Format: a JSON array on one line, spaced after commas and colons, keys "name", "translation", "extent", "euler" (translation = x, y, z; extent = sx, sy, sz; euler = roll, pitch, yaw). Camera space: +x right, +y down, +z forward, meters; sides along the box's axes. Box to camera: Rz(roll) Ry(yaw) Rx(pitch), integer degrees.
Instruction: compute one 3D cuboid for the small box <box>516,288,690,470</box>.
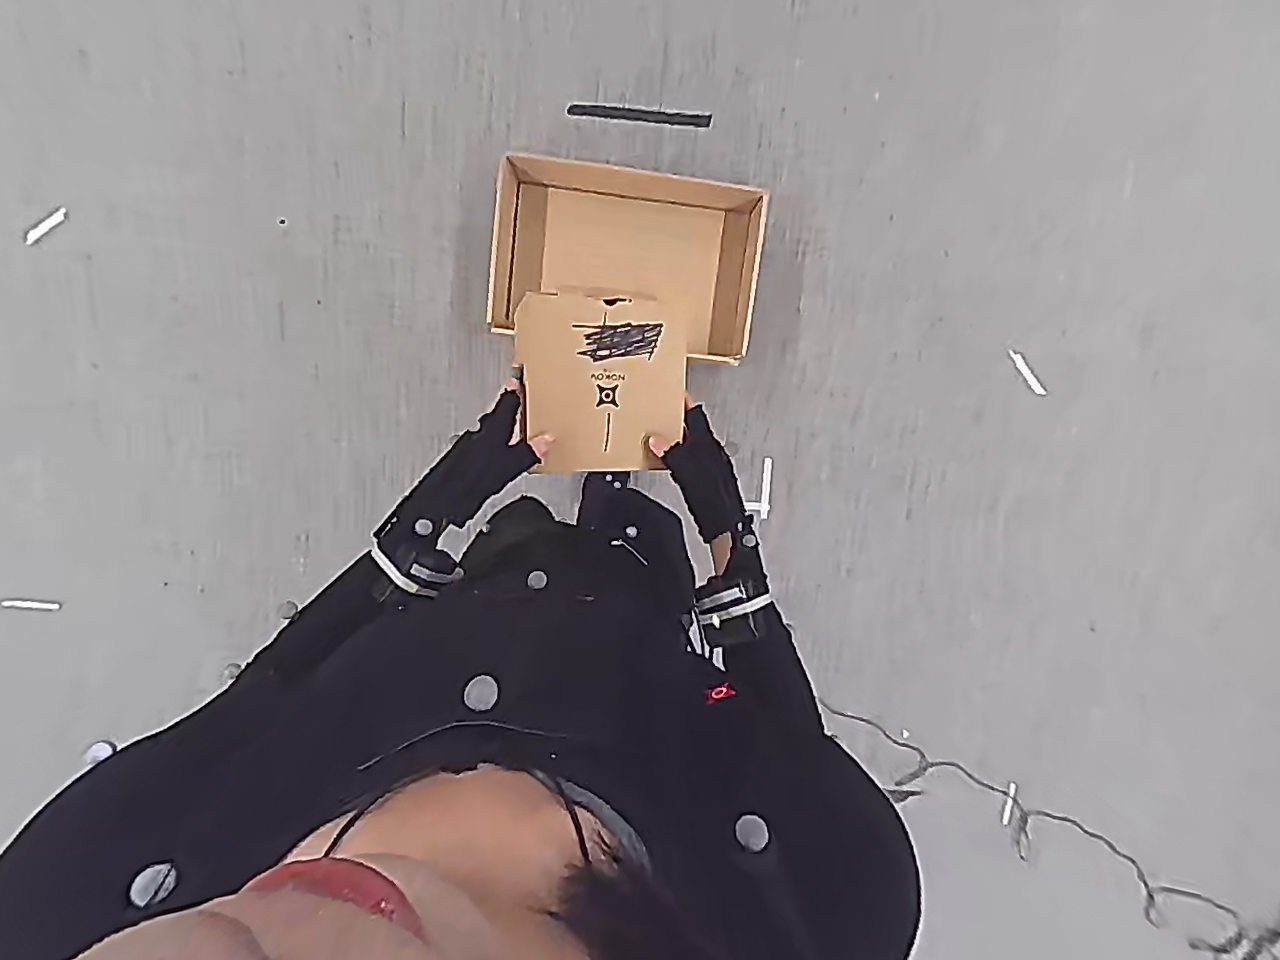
[{"name": "small box", "translation": [-0.052, -0.109, 0.618], "extent": [0.168, 0.176, 0.179], "euler": [-1, 101, -17]}]
